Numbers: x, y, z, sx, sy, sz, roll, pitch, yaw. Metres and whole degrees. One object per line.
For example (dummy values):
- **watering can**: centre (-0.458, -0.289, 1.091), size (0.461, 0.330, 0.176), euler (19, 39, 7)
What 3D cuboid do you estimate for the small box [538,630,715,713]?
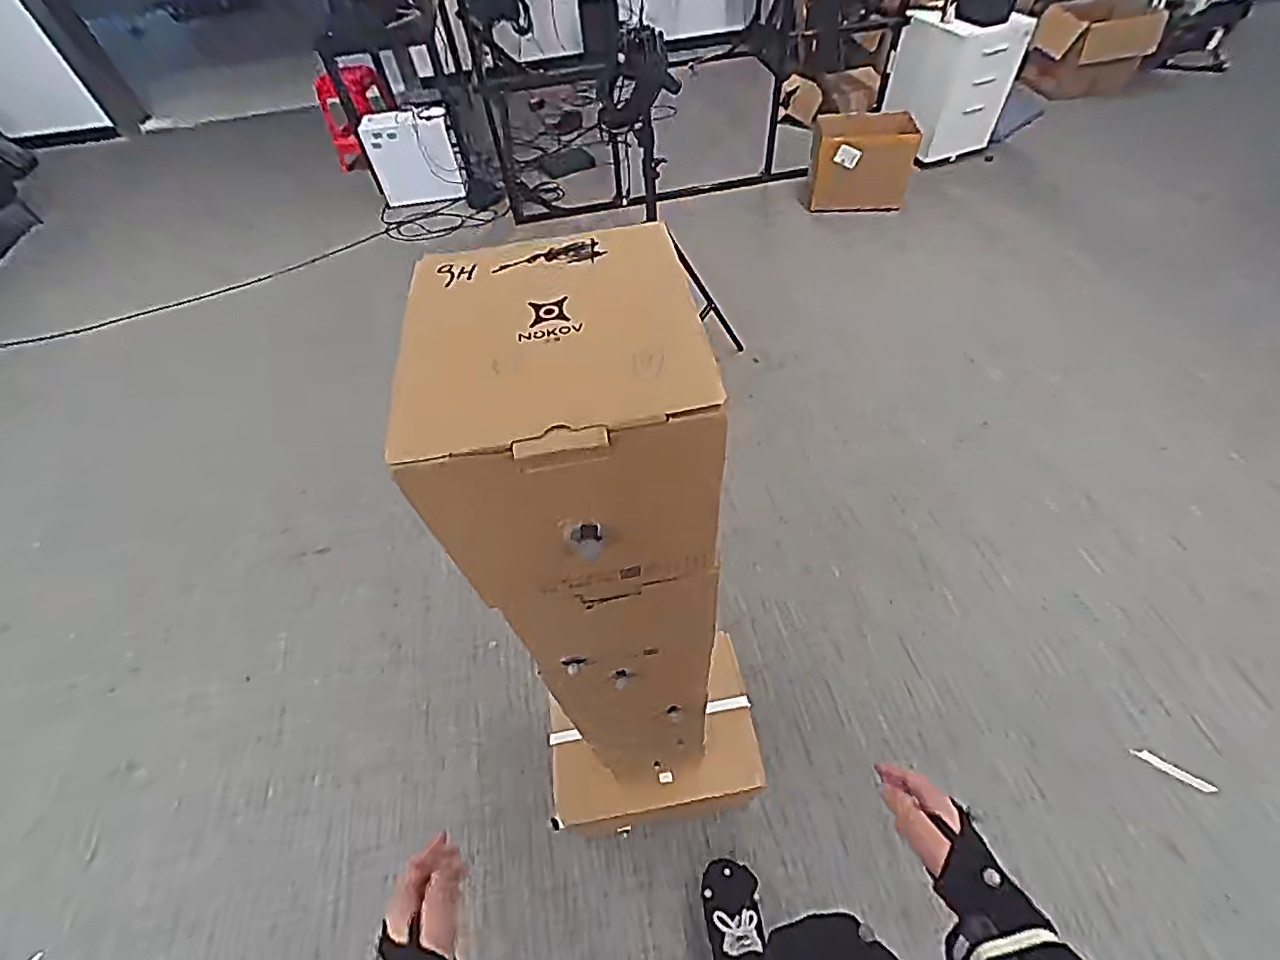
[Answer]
- **small box**: centre (-0.017, 0.160, 0.634), size (0.179, 0.176, 0.168), euler (-9, 54, -1)

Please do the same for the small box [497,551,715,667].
- **small box**: centre (-0.027, 0.061, 0.503), size (0.168, 0.176, 0.179), euler (-9, 53, -1)

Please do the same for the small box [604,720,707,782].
- **small box**: centre (0.021, 0.456, 1.023), size (0.179, 0.176, 0.168), euler (-11, 54, -4)

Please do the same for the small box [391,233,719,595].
- **small box**: centre (-0.045, -0.034, 0.371), size (0.168, 0.176, 0.179), euler (-10, 54, -2)

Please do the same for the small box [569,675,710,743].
- **small box**: centre (-0.005, 0.258, 0.762), size (0.179, 0.176, 0.168), euler (-9, 53, -1)
